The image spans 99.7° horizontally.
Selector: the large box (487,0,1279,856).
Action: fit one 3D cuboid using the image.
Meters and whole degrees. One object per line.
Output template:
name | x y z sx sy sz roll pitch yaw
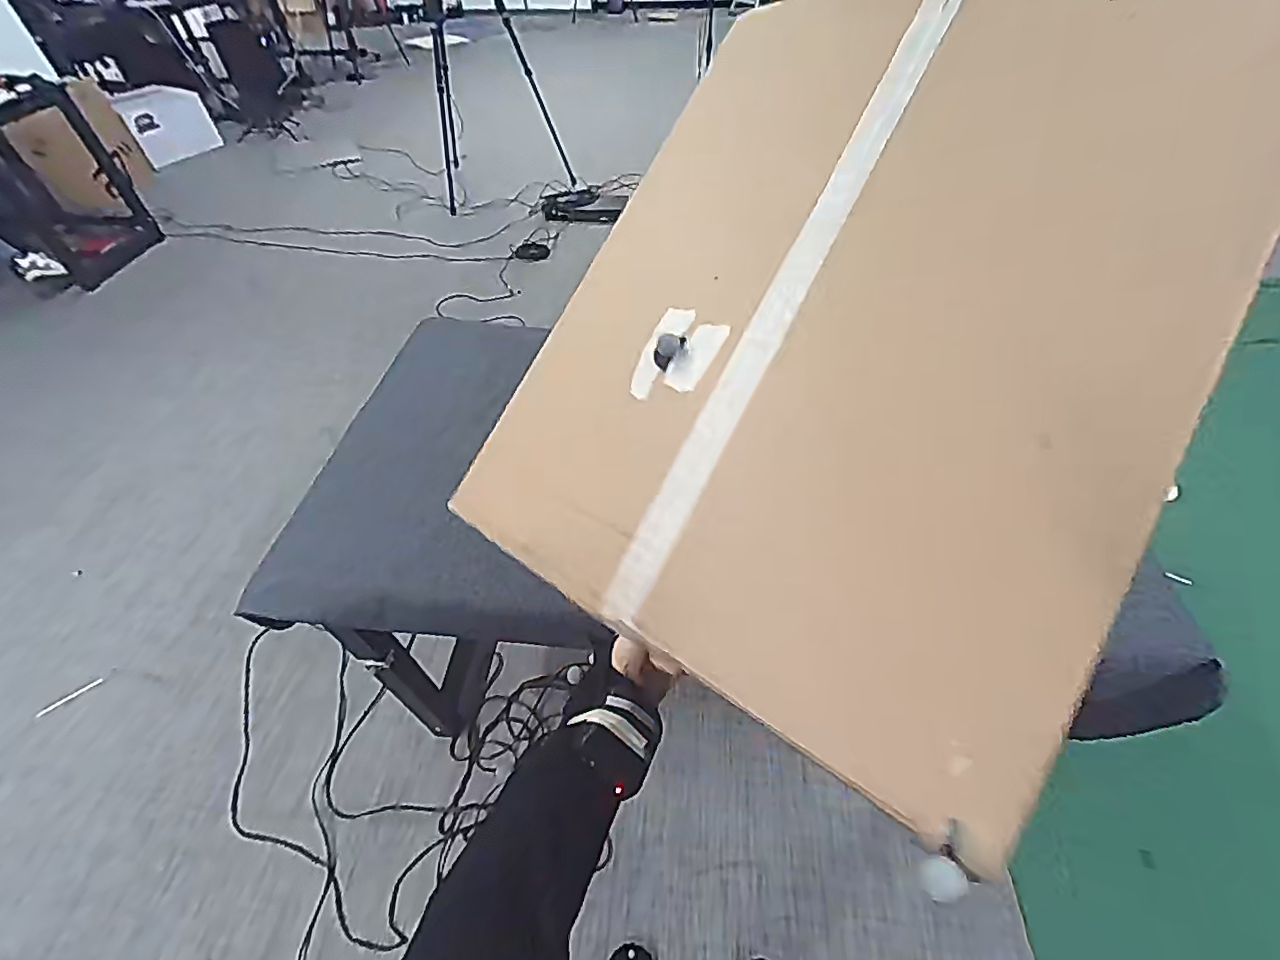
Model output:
large box | 0.171 -0.048 0.407 0.320 0.320 0.408 23 83 36
